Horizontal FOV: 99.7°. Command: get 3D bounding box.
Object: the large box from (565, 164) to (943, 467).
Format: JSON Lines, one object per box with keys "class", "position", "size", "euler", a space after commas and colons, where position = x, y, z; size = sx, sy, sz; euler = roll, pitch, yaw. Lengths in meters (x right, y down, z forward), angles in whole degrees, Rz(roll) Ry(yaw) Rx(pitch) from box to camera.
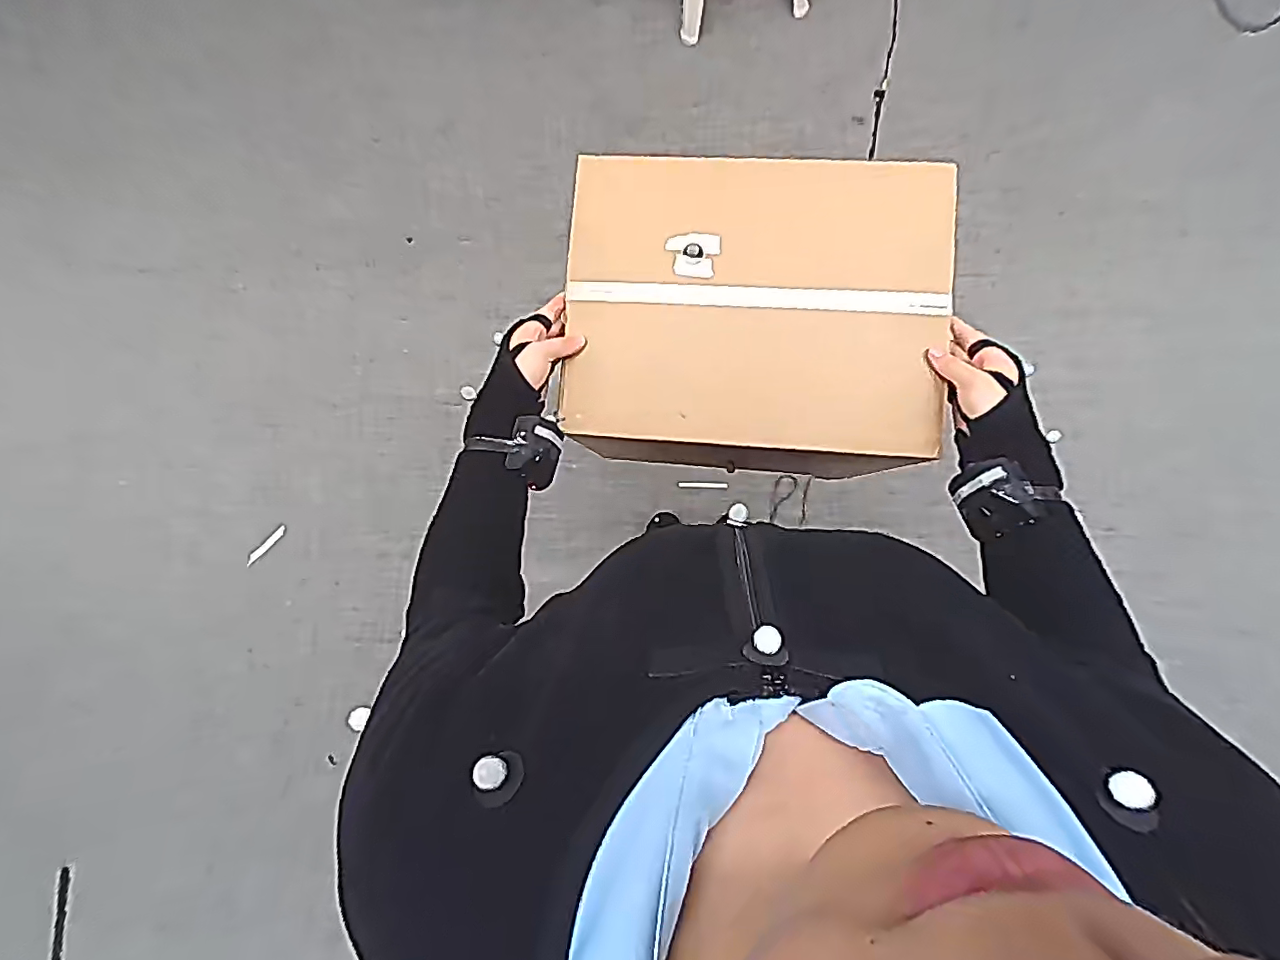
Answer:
{"class": "large box", "position": [0.137, -0.186, 0.737], "size": [0.408, 0.320, 0.320], "euler": [3, 86, 6]}
